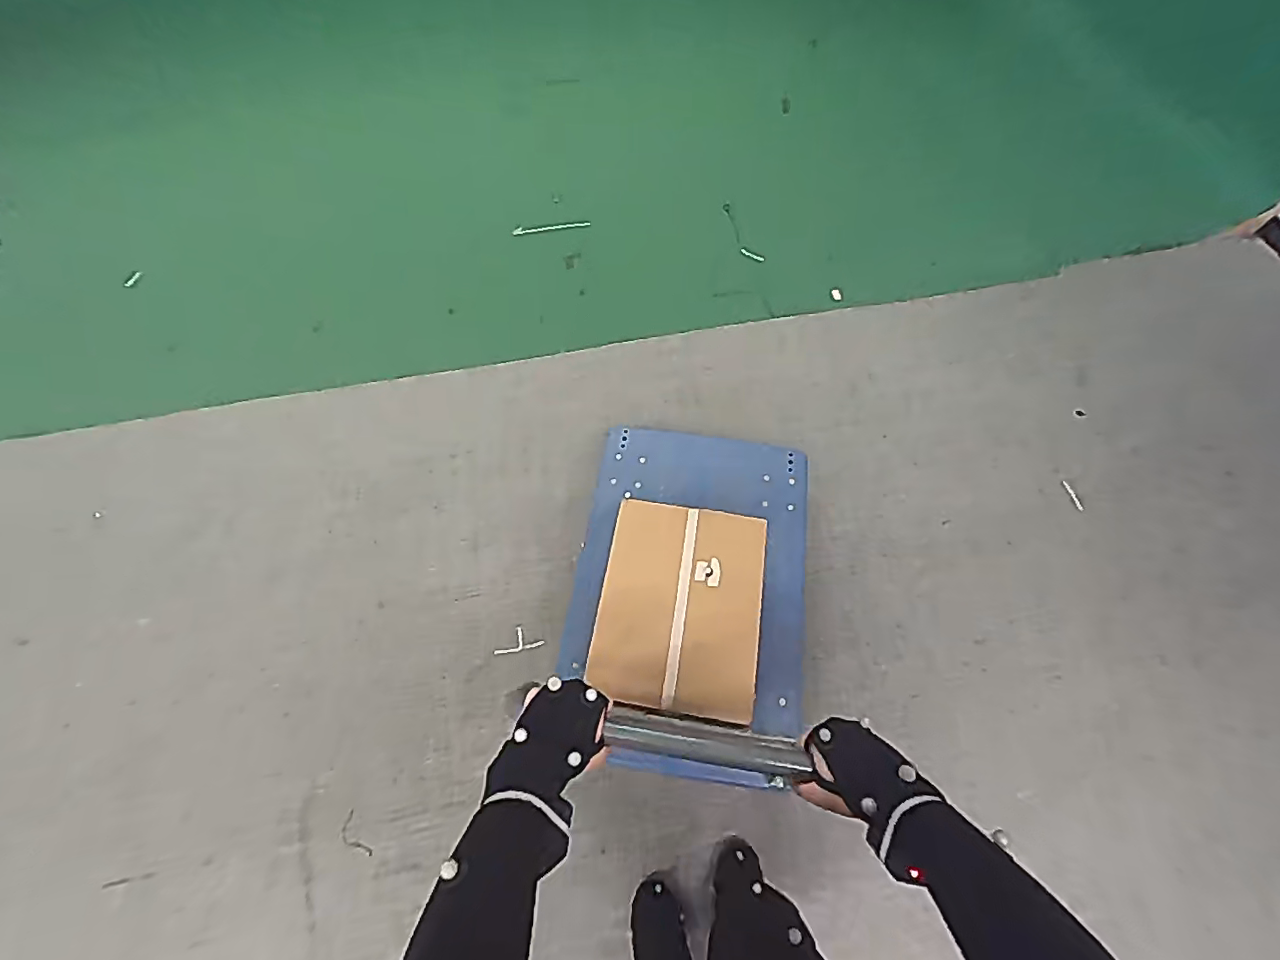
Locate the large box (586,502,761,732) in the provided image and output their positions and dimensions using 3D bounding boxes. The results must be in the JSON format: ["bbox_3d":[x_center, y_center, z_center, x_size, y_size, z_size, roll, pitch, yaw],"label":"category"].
[{"bbox_3d":[0.079,0.311,1.197,0.320,0.320,0.408,9,62,4],"label":"large box"}]
